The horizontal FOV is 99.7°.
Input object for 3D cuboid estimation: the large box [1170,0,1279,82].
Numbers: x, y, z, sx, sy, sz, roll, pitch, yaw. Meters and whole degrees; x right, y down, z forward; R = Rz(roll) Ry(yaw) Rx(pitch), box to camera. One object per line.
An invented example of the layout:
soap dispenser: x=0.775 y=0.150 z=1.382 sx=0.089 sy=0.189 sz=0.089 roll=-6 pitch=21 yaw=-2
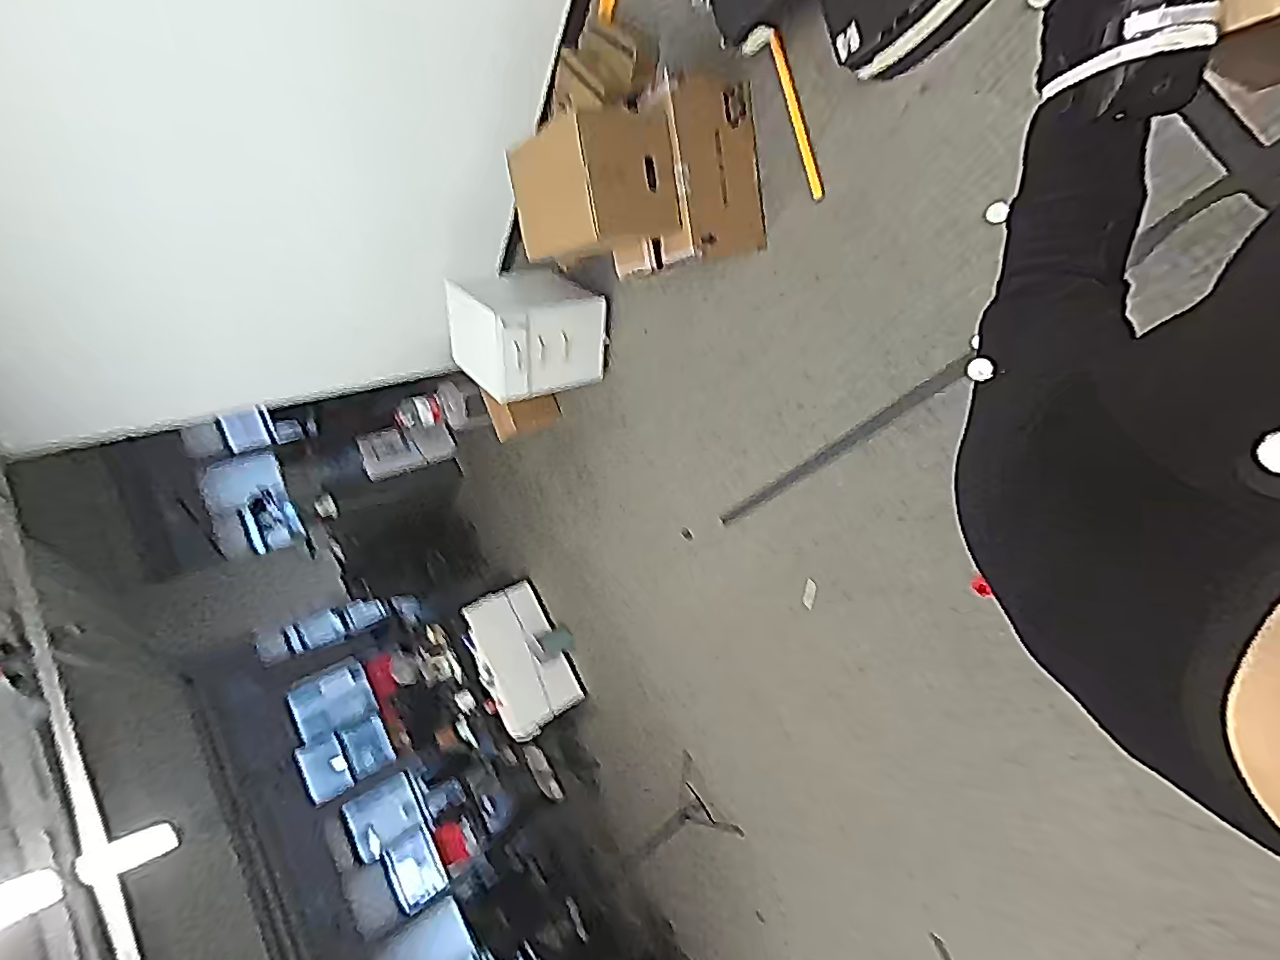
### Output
large box: x=0.543 y=-0.454 z=0.235 sx=0.408 sy=0.320 sz=0.320 roll=10 pitch=116 yaw=52
